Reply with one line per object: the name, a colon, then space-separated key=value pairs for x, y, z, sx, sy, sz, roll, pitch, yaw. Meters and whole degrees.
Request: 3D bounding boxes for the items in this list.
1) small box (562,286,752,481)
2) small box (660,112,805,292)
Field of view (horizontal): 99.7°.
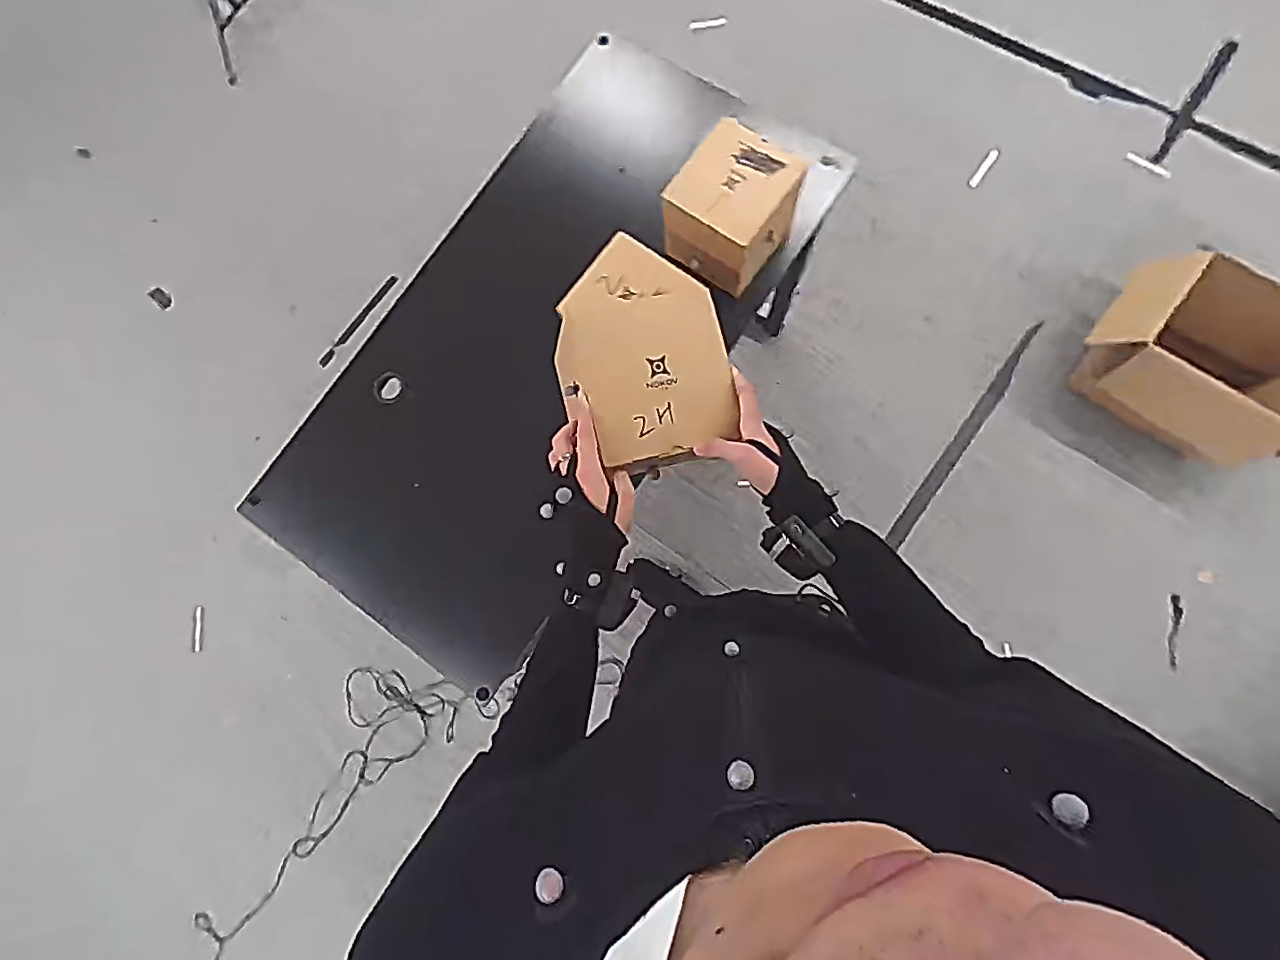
small box: x=0.008 y=-0.105 z=0.647 sx=0.168 sy=0.176 sz=0.179 roll=-13 pitch=88 yaw=-13
small box: x=0.151 y=-0.464 z=0.926 sx=0.168 sy=0.176 sz=0.179 roll=36 pitch=87 yaw=10
